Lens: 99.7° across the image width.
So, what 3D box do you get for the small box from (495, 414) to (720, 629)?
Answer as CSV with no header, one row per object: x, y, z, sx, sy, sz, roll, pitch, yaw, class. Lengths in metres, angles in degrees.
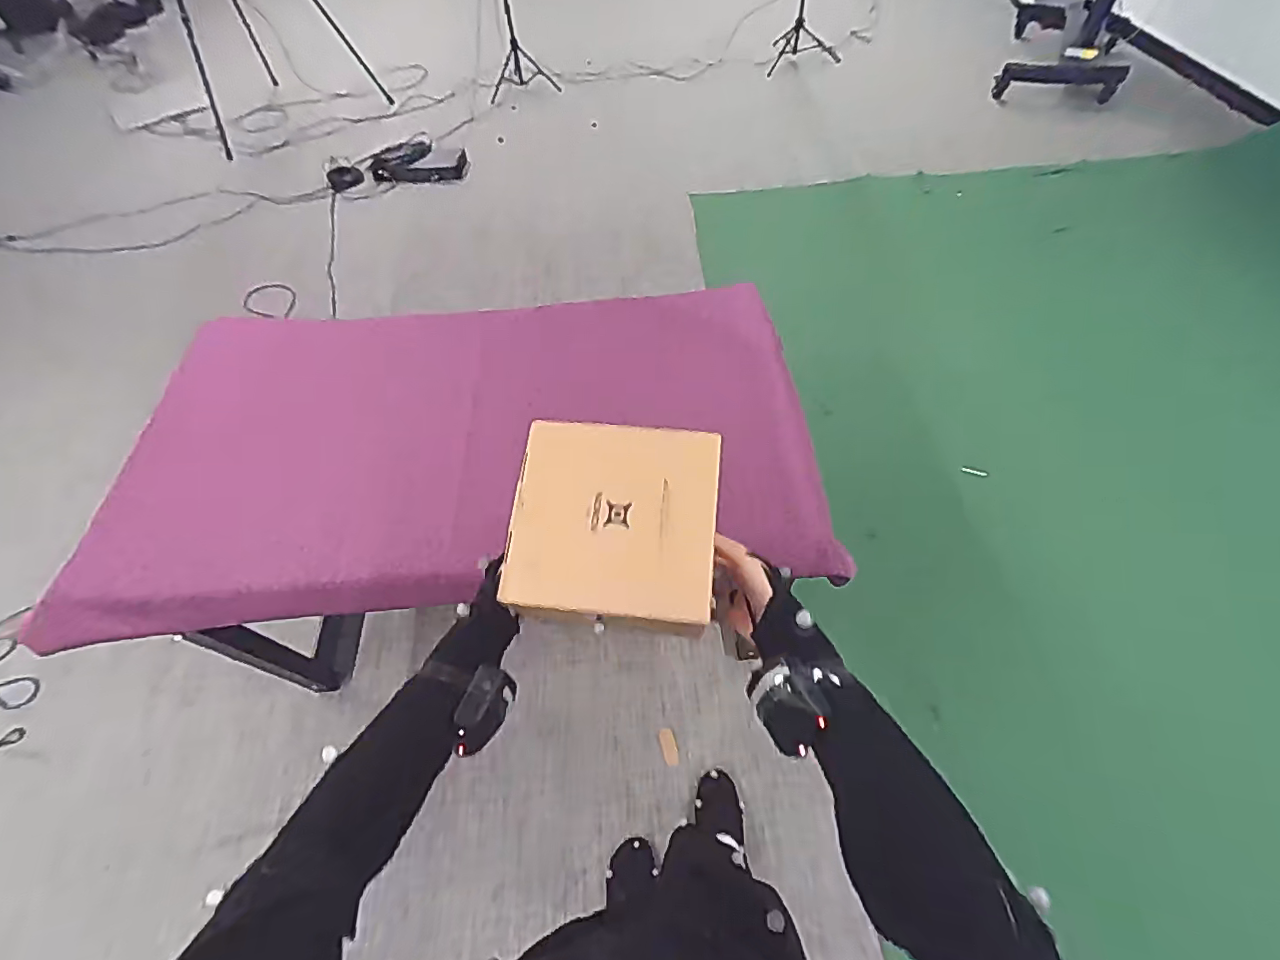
-0.019,0.050,0.534,0.179,0.176,0.168,5,70,6,small box
